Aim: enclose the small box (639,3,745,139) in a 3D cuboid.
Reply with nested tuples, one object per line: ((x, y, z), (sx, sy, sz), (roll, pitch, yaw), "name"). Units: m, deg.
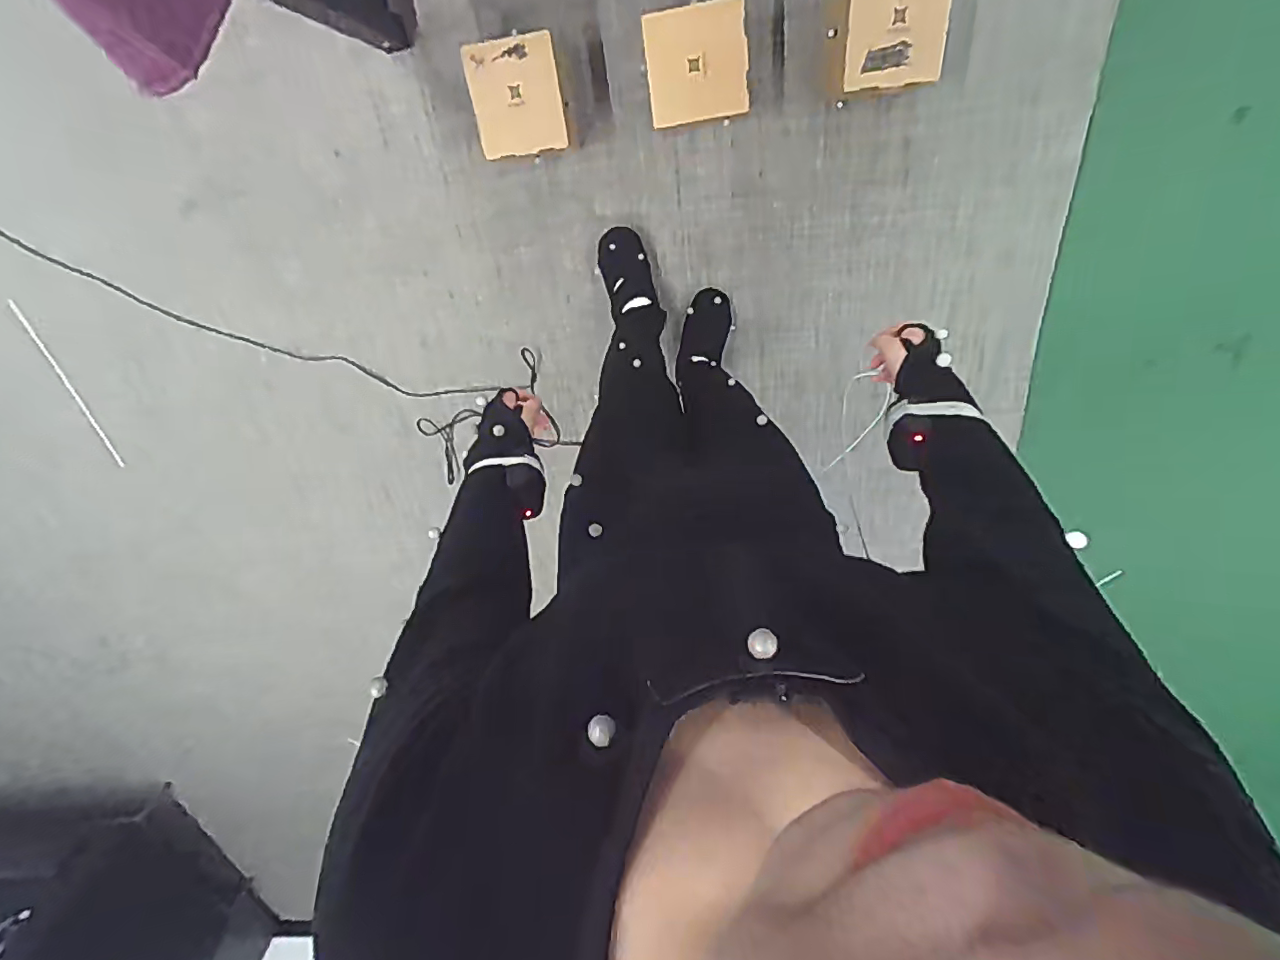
((0.100, -0.756, 1.019), (0.179, 0.176, 0.168), (-6, 118, 7), "small box")

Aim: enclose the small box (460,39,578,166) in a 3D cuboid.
((-0.223, -0.726, 1.055), (0.168, 0.176, 0.179), (-6, 119, 6), "small box")

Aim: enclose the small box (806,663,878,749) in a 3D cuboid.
((0.582, 0.653, 1.576), (0.168, 0.176, 0.179), (-6, 118, 9), "small box")
